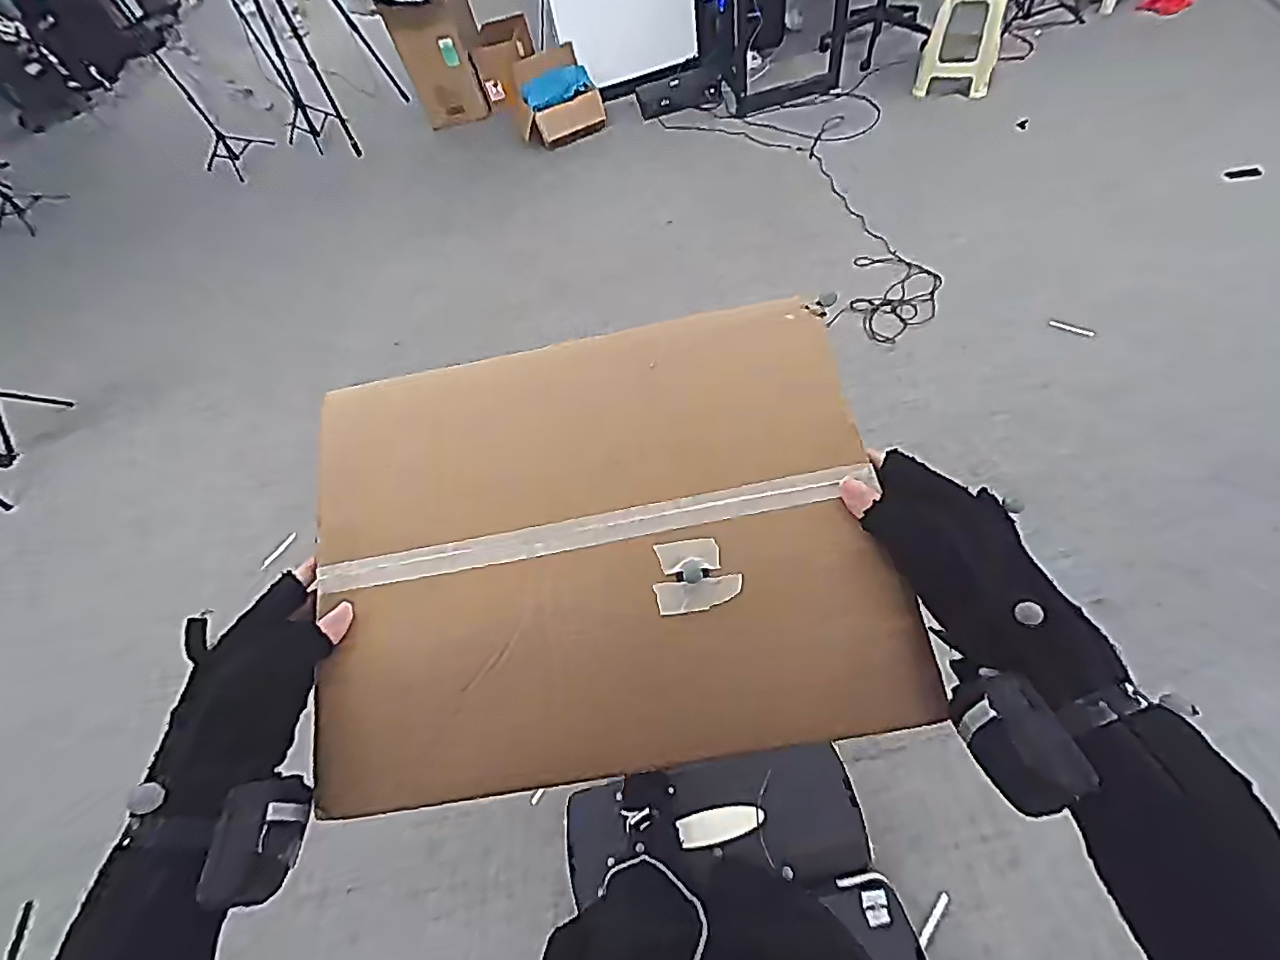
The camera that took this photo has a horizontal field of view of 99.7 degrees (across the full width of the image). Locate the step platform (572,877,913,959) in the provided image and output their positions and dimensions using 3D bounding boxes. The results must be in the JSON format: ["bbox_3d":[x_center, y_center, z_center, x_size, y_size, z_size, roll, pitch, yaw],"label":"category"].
[{"bbox_3d":[0.197,1.021,1.050,0.684,0.204,0.286,-17,55,3],"label":"step platform"}]

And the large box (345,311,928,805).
[{"bbox_3d":[-0.016,0.088,0.546,0.408,0.320,0.320,-11,72,3],"label":"large box"}]
